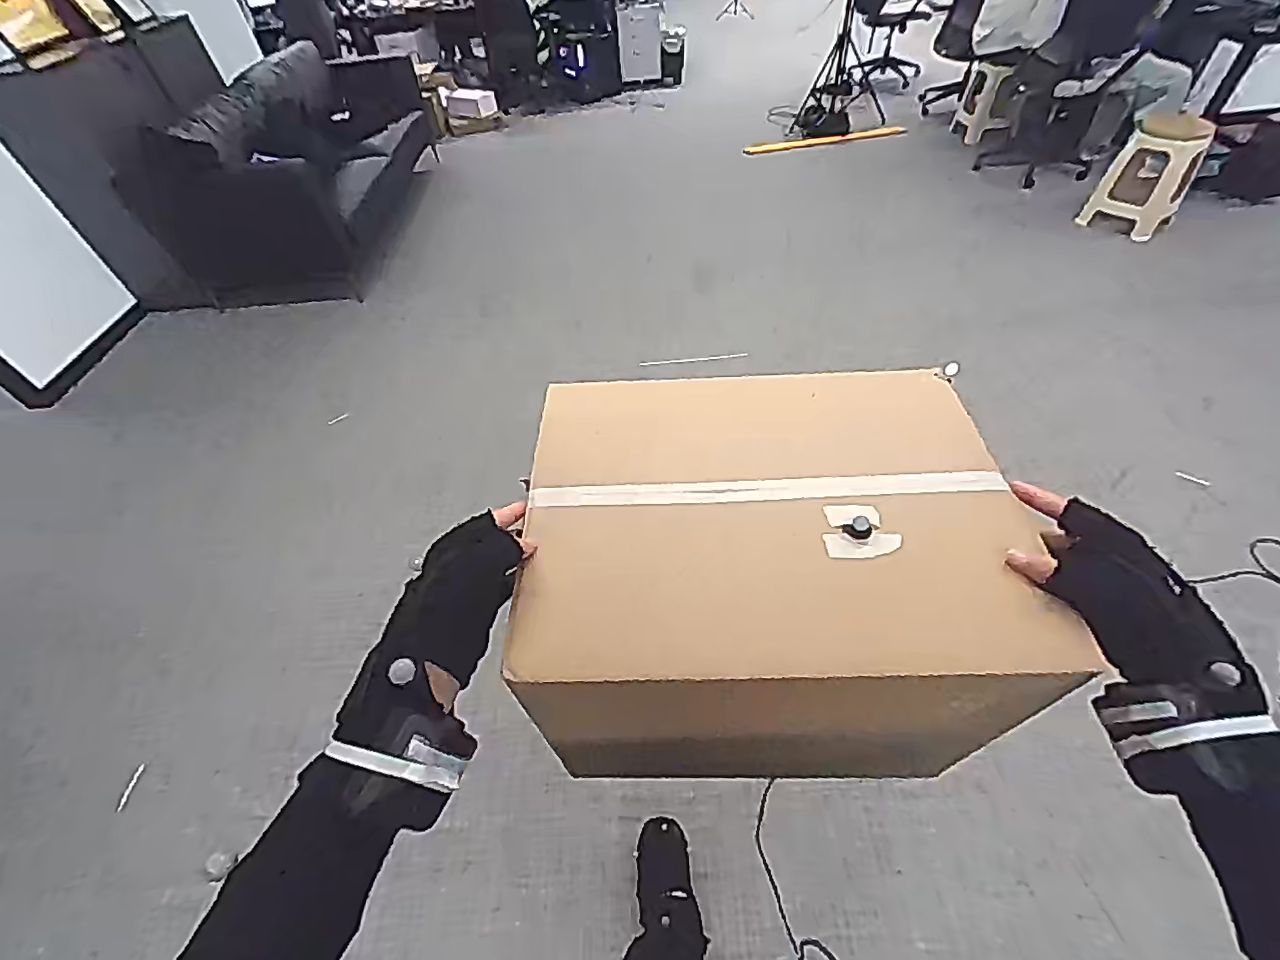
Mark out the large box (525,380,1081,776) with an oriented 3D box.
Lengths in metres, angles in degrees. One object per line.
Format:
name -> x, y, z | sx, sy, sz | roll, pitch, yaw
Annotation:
large box -> 0.116, 0.114, 0.590 | 0.408, 0.320, 0.320 | -1, 50, 2
